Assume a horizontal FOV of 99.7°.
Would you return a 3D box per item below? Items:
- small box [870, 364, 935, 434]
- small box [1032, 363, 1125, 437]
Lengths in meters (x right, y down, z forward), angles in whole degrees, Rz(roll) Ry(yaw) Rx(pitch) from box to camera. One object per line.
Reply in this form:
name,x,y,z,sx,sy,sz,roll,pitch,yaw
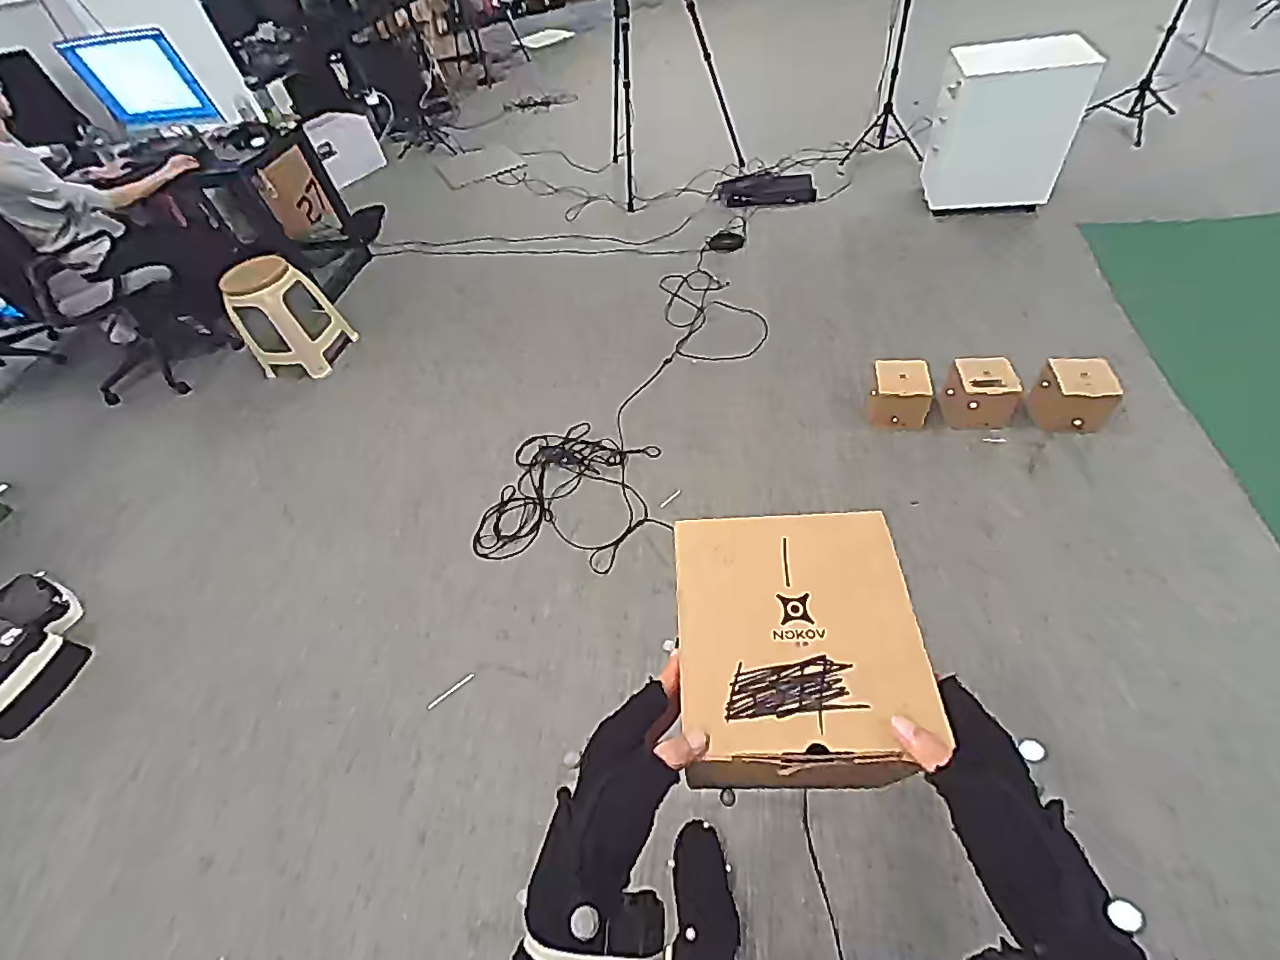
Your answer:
small box,0.909,-0.284,1.887,0.168,0.176,0.179,3,52,13
small box,1.427,-0.262,1.775,0.168,0.176,0.179,3,52,13
